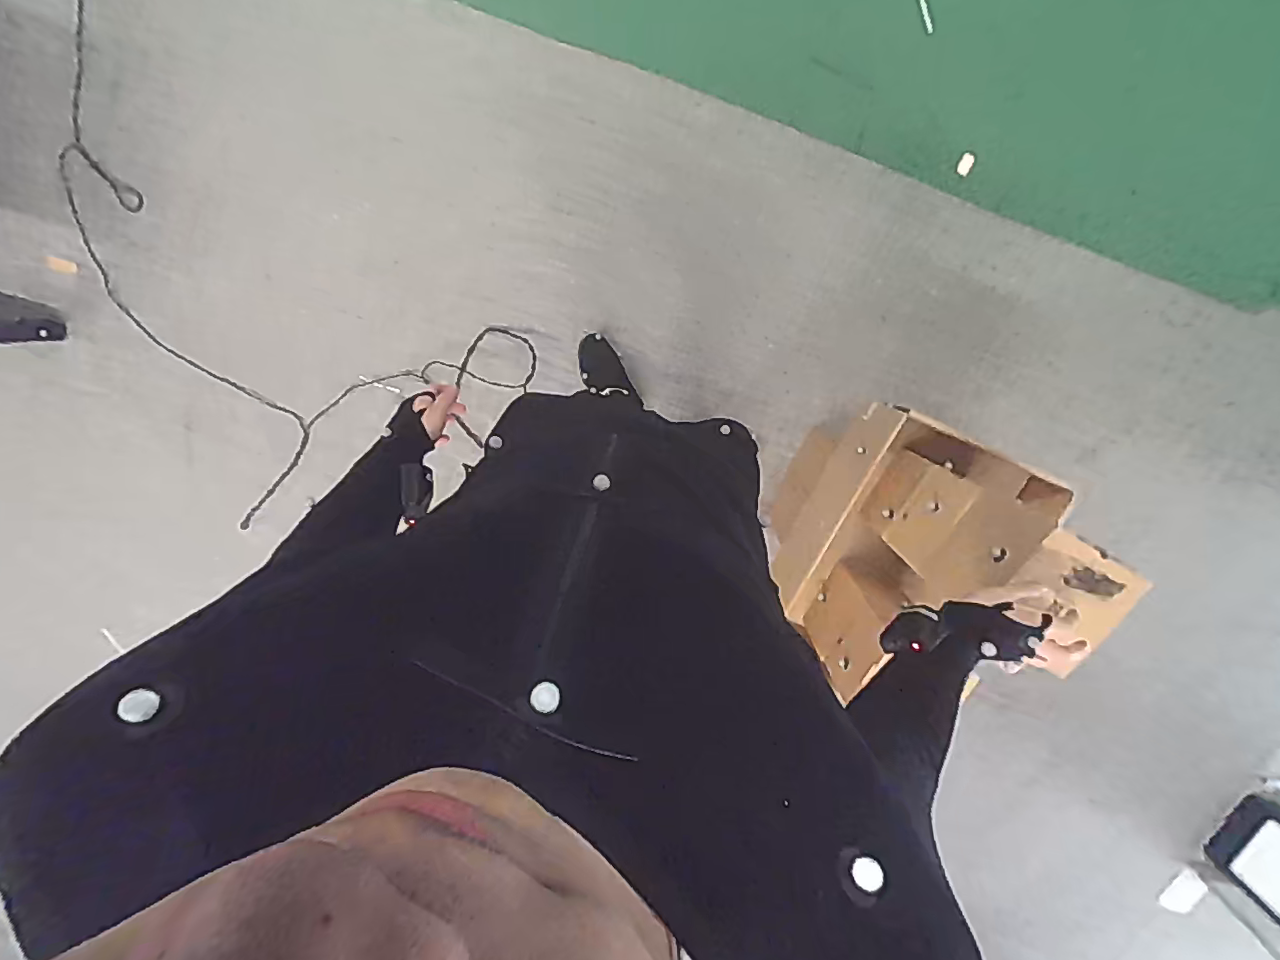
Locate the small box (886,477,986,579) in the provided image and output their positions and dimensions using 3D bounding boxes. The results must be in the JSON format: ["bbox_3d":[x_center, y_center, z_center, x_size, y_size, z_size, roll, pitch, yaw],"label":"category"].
[{"bbox_3d":[0.578,0.109,0.964,0.179,0.176,0.168,27,105,-5],"label":"small box"}]

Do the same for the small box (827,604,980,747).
[{"bbox_3d":[0.488,0.363,1.038,0.179,0.176,0.168,24,106,-4],"label":"small box"}]

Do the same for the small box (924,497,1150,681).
[{"bbox_3d":[0.568,0.150,0.805,0.168,0.176,0.179,30,106,-5],"label":"small box"}]
